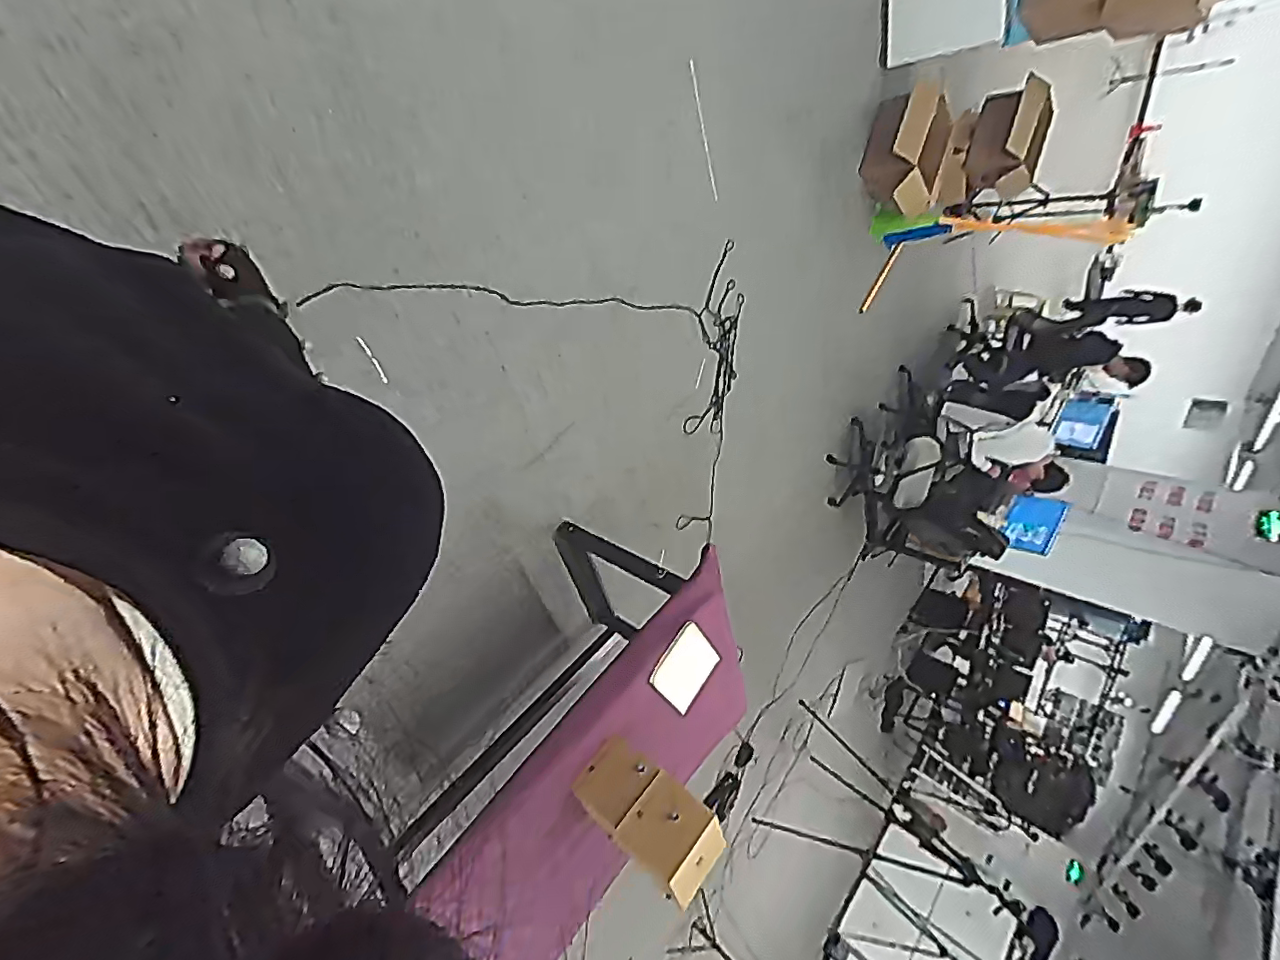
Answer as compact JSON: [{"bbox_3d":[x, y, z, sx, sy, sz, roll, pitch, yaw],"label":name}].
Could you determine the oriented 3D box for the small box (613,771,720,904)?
[{"bbox_3d":[0.060,0.813,1.247,0.168,0.176,0.179,-41,133,-30],"label":"small box"}]
